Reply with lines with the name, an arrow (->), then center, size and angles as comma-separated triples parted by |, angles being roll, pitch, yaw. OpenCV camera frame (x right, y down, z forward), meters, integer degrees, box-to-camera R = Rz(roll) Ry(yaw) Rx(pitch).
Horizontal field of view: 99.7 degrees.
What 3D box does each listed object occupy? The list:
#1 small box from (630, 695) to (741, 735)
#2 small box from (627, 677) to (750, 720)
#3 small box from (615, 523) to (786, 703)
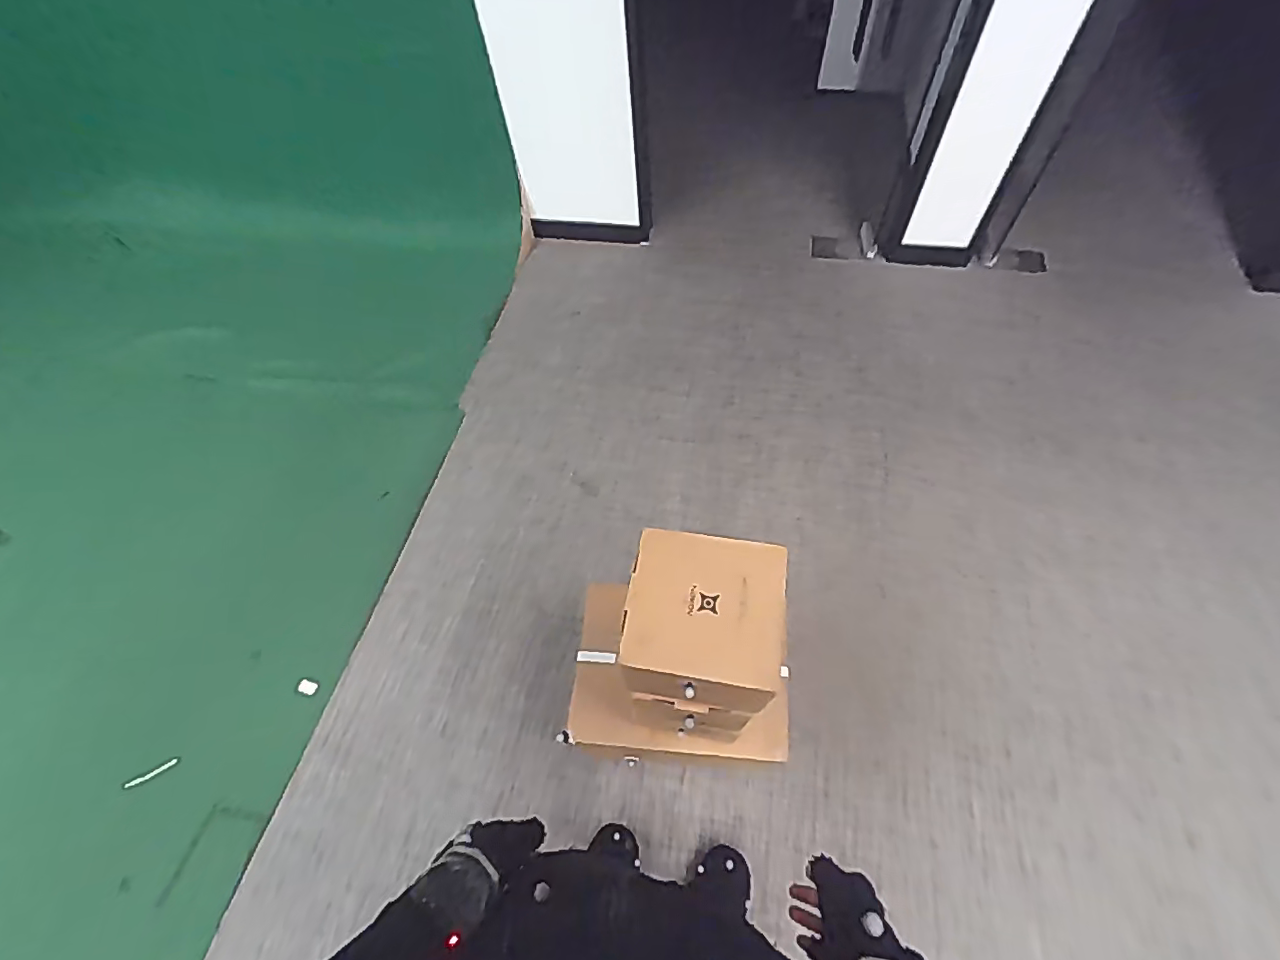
small box -> 0.090, 0.343, 0.954 | 0.179, 0.176, 0.168 | 7, 61, 9
small box -> 0.083, 0.254, 0.817 | 0.168, 0.176, 0.179 | 7, 61, 8
small box -> 0.076, 0.172, 0.677 | 0.179, 0.176, 0.168 | 8, 62, 7
